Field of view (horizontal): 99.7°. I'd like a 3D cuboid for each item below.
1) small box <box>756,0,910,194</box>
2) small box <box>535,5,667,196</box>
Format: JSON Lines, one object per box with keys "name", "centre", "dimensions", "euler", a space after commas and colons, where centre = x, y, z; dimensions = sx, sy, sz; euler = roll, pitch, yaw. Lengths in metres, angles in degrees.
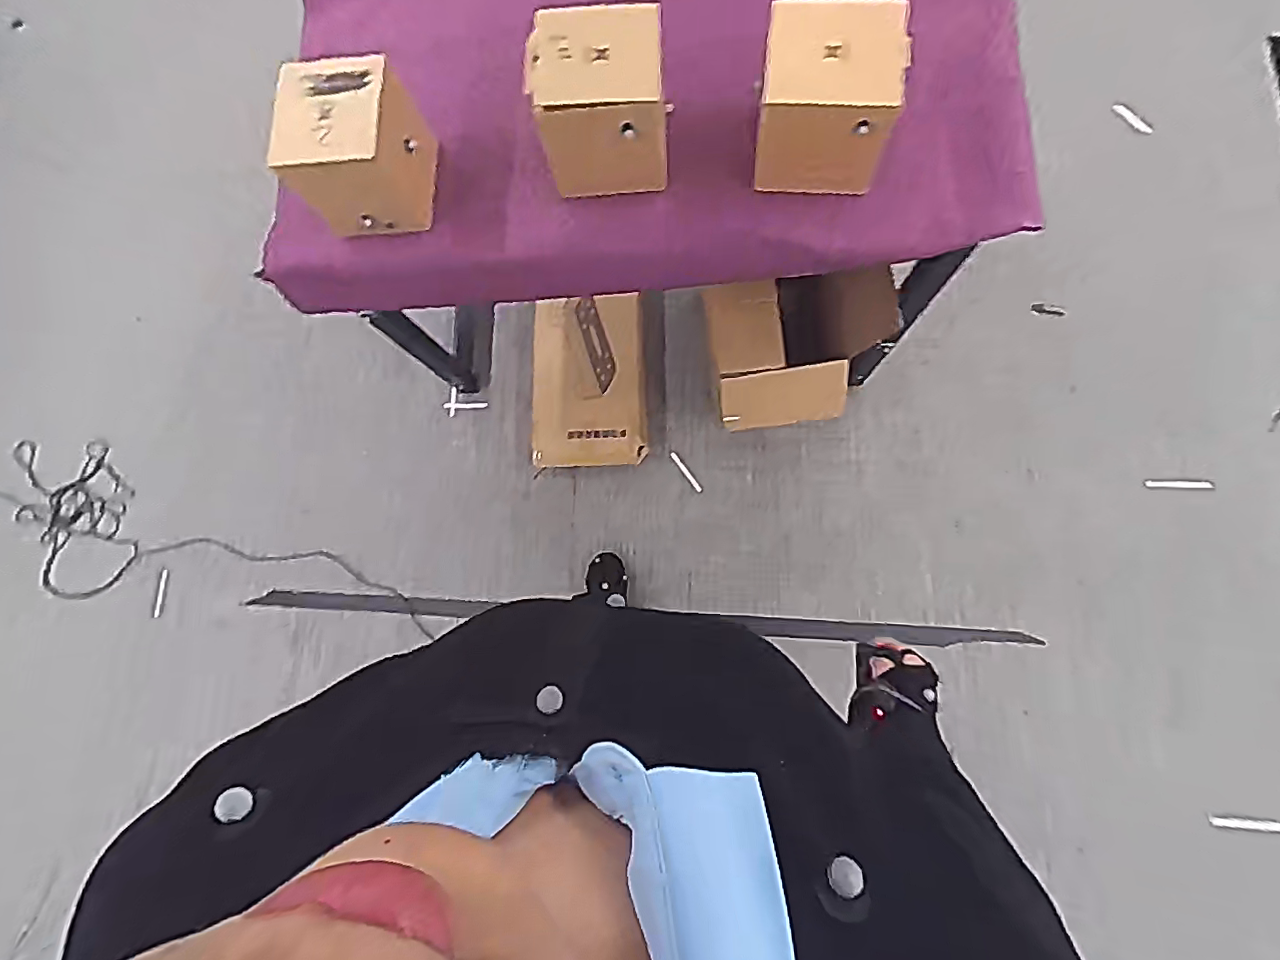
{"name": "small box", "centre": [0.267, -0.545, 0.785], "dimensions": [0.179, 0.176, 0.168], "euler": [6, 81, 7]}
{"name": "small box", "centre": [-0.049, -0.562, 0.819], "dimensions": [0.179, 0.176, 0.168], "euler": [-1, 77, 6]}
